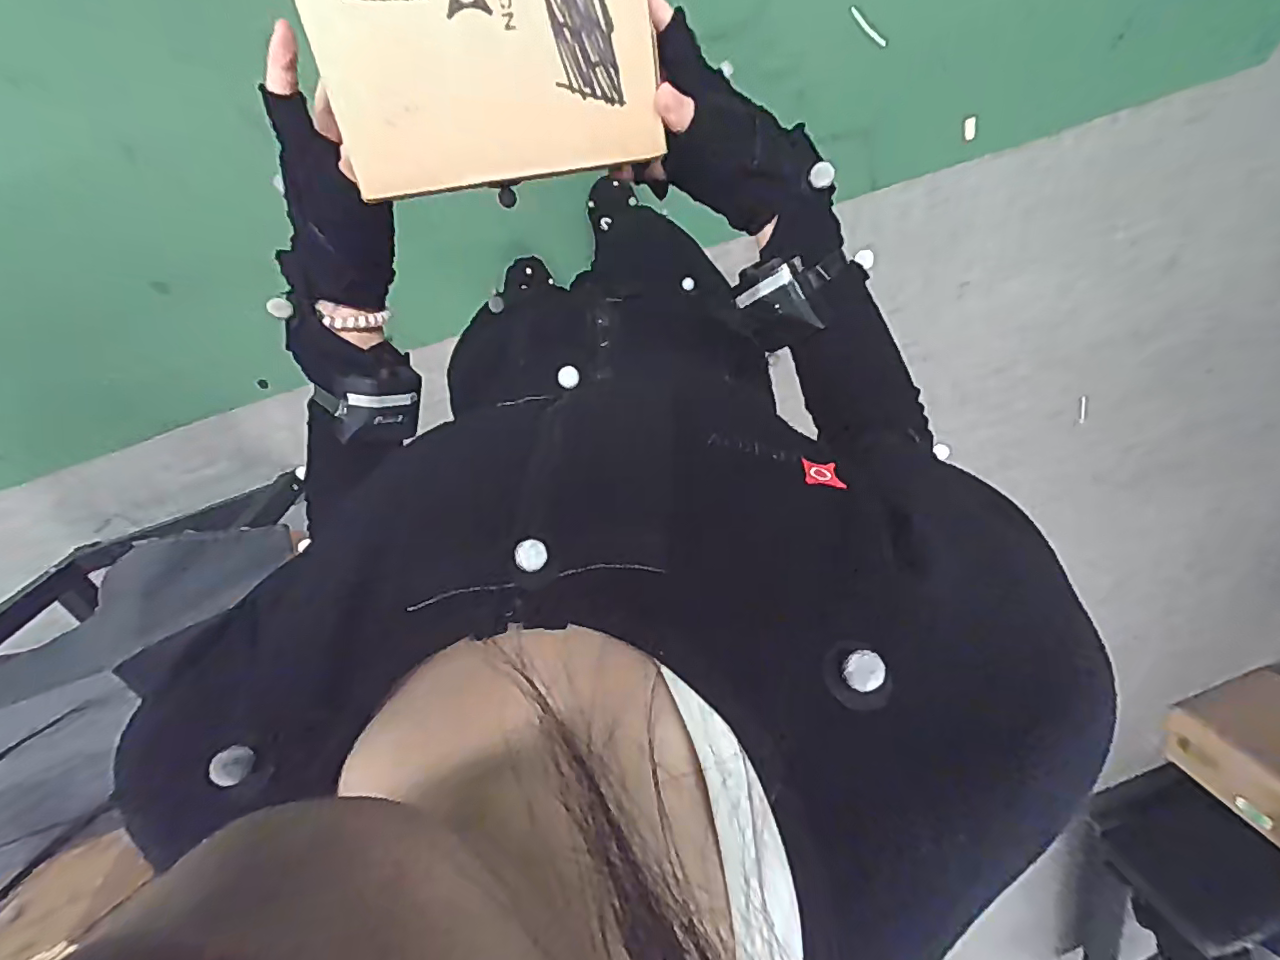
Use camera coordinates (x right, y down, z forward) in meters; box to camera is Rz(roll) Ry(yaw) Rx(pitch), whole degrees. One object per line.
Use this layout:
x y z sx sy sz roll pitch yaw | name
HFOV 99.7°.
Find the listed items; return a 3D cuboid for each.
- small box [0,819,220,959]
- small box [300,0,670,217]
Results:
-0.801 0.662 0.817 0.179 0.176 0.168 -23 119 -1 | small box
-0.094 -0.271 0.337 0.179 0.176 0.168 -13 121 -8 | small box
